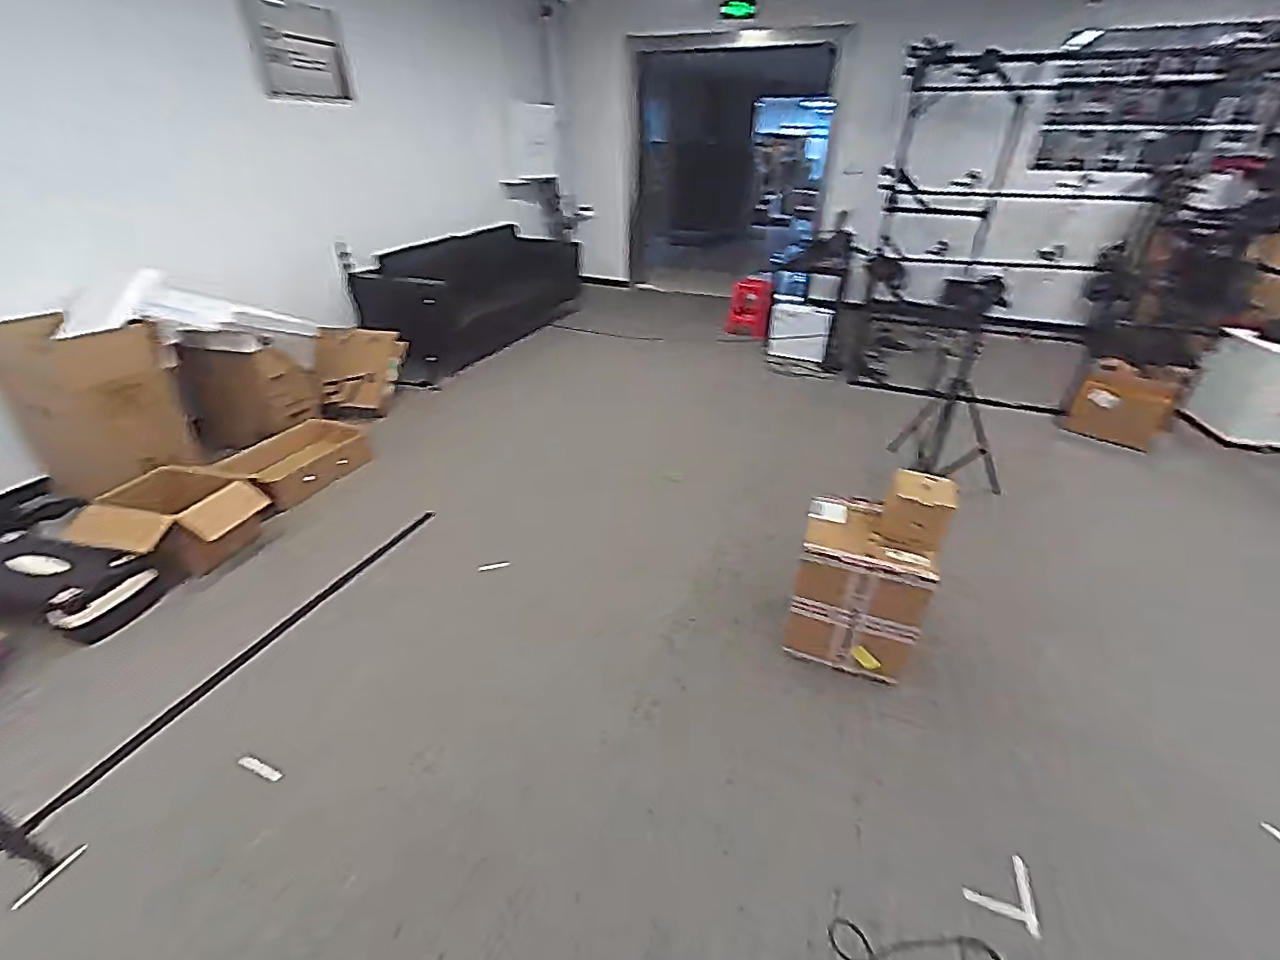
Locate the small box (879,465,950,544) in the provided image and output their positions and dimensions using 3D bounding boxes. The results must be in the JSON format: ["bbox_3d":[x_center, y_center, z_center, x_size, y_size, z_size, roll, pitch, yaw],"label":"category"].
[{"bbox_3d":[0.877,0.080,1.738,0.168,0.176,0.179,14,37,17],"label":"small box"}]
